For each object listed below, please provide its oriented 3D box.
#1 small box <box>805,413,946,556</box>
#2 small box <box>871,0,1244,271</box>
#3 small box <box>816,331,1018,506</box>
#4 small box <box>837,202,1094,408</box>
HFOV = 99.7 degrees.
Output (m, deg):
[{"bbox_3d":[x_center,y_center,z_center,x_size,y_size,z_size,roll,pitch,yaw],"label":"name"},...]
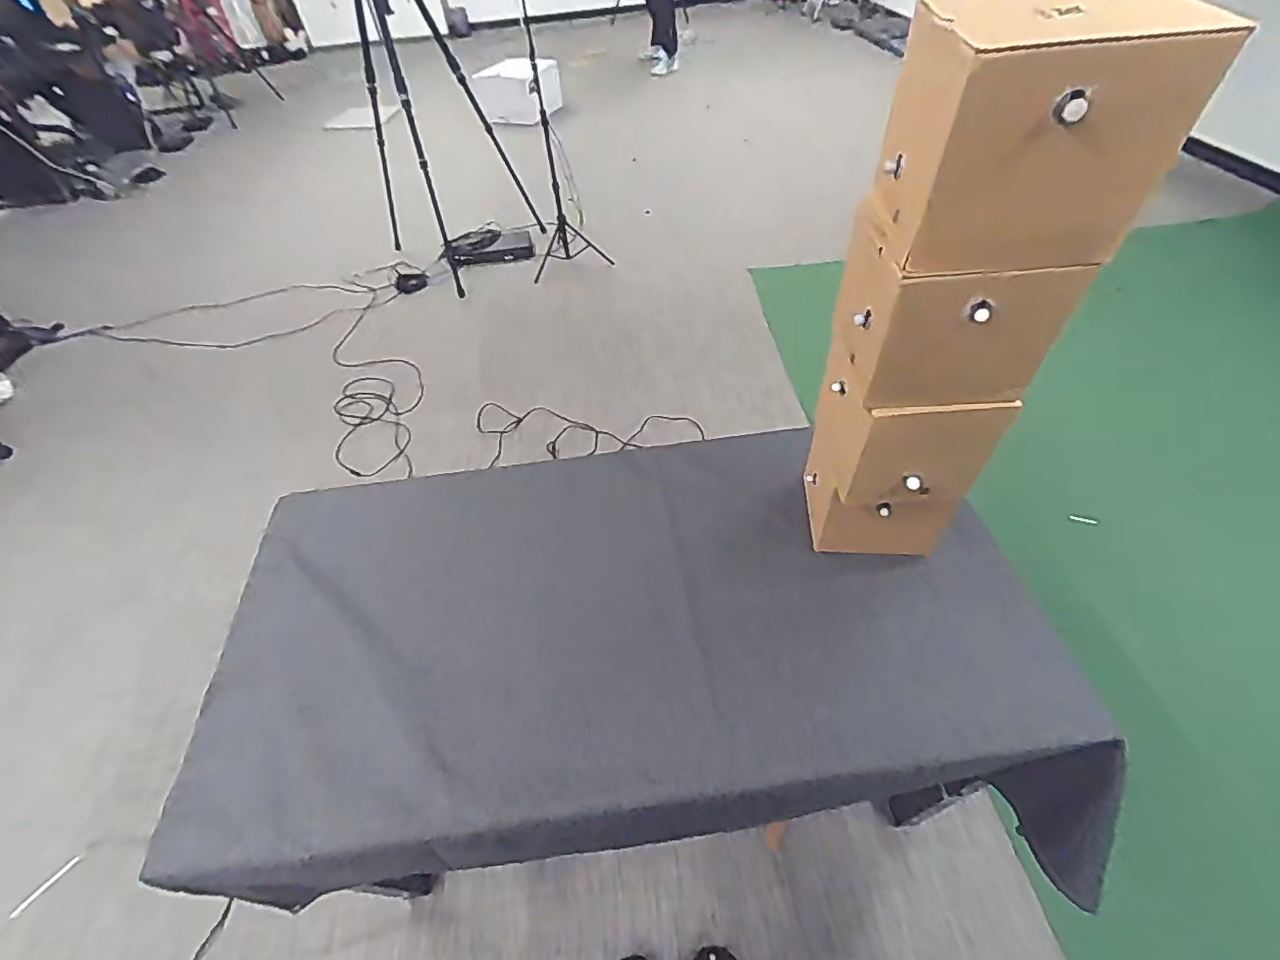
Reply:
[{"bbox_3d":[0.363,0.007,0.853,0.179,0.176,0.168,2,50,6],"label":"small box"},{"bbox_3d":[0.325,-0.300,0.474,0.179,0.176,0.168,0,50,7],"label":"small box"},{"bbox_3d":[0.344,-0.085,0.718,0.168,0.176,0.179,-4,50,3],"label":"small box"},{"bbox_3d":[0.328,-0.193,0.596,0.179,0.176,0.168,-2,50,4],"label":"small box"}]
